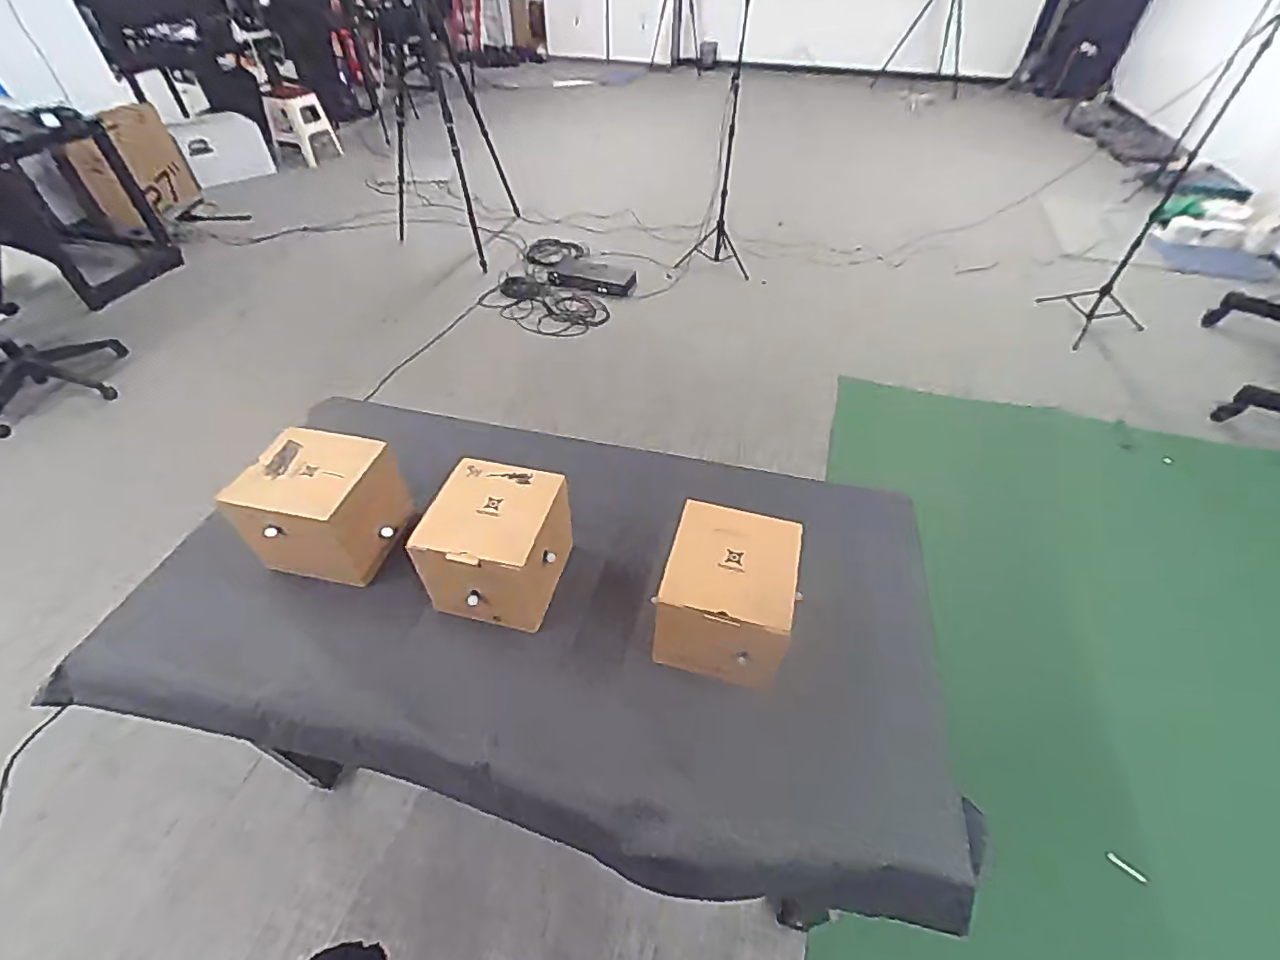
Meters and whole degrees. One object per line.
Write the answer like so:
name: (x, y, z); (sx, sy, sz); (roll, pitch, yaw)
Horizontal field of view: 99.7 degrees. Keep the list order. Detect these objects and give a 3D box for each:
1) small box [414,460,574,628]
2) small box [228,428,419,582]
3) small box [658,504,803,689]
small box: (-0.204, 0.100, 0.821); (0.168, 0.176, 0.179); (11, 47, 9)
small box: (-0.488, 0.042, 0.866); (0.179, 0.176, 0.168); (10, 47, 7)
small box: (0.124, 0.167, 0.766); (0.168, 0.176, 0.179); (13, 46, 9)
